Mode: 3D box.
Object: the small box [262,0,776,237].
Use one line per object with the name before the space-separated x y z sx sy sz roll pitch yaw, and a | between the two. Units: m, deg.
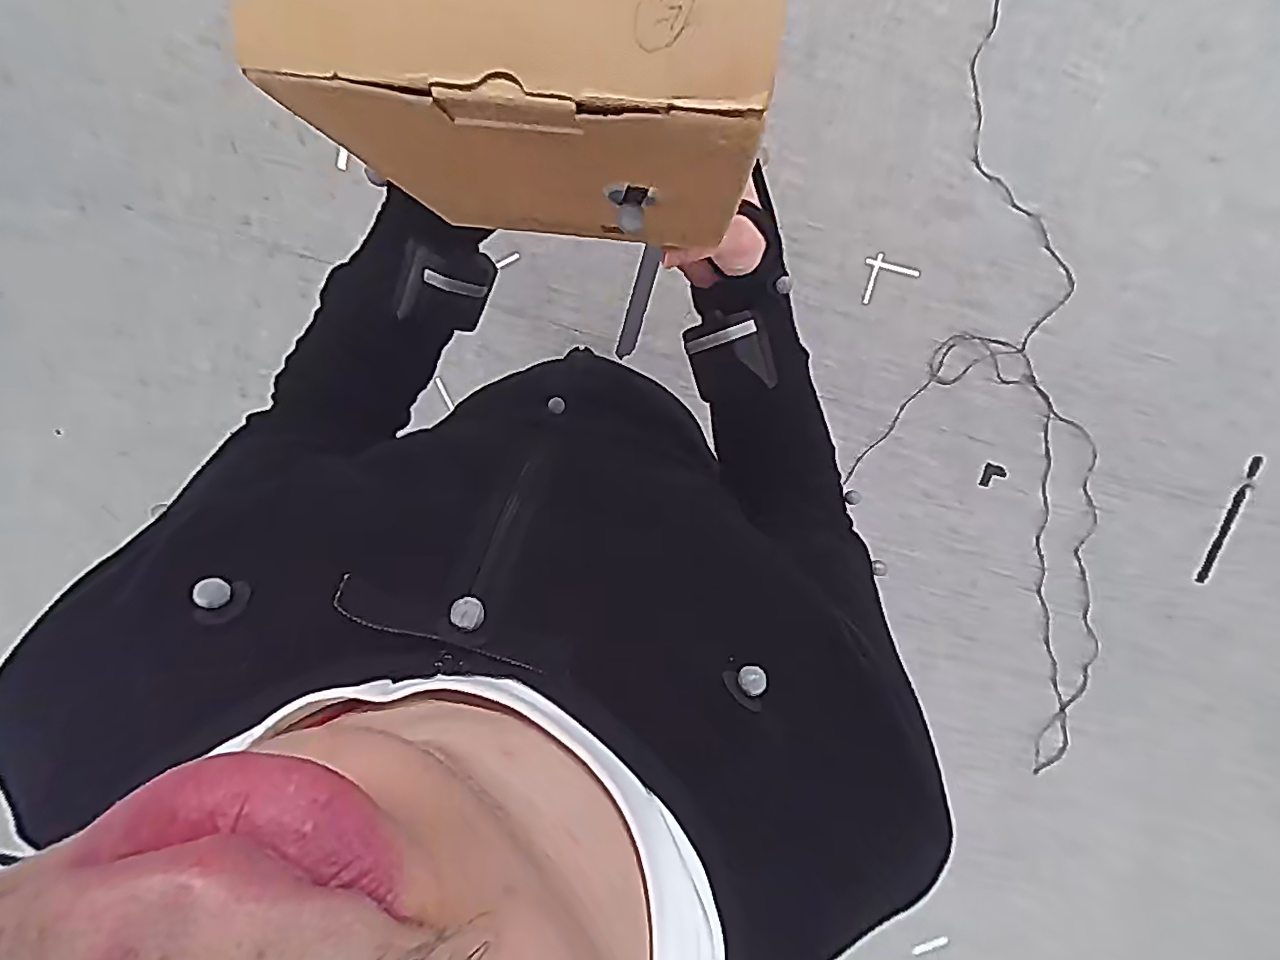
small box | -0.029 -0.221 0.237 0.168 0.176 0.179 6 100 0
